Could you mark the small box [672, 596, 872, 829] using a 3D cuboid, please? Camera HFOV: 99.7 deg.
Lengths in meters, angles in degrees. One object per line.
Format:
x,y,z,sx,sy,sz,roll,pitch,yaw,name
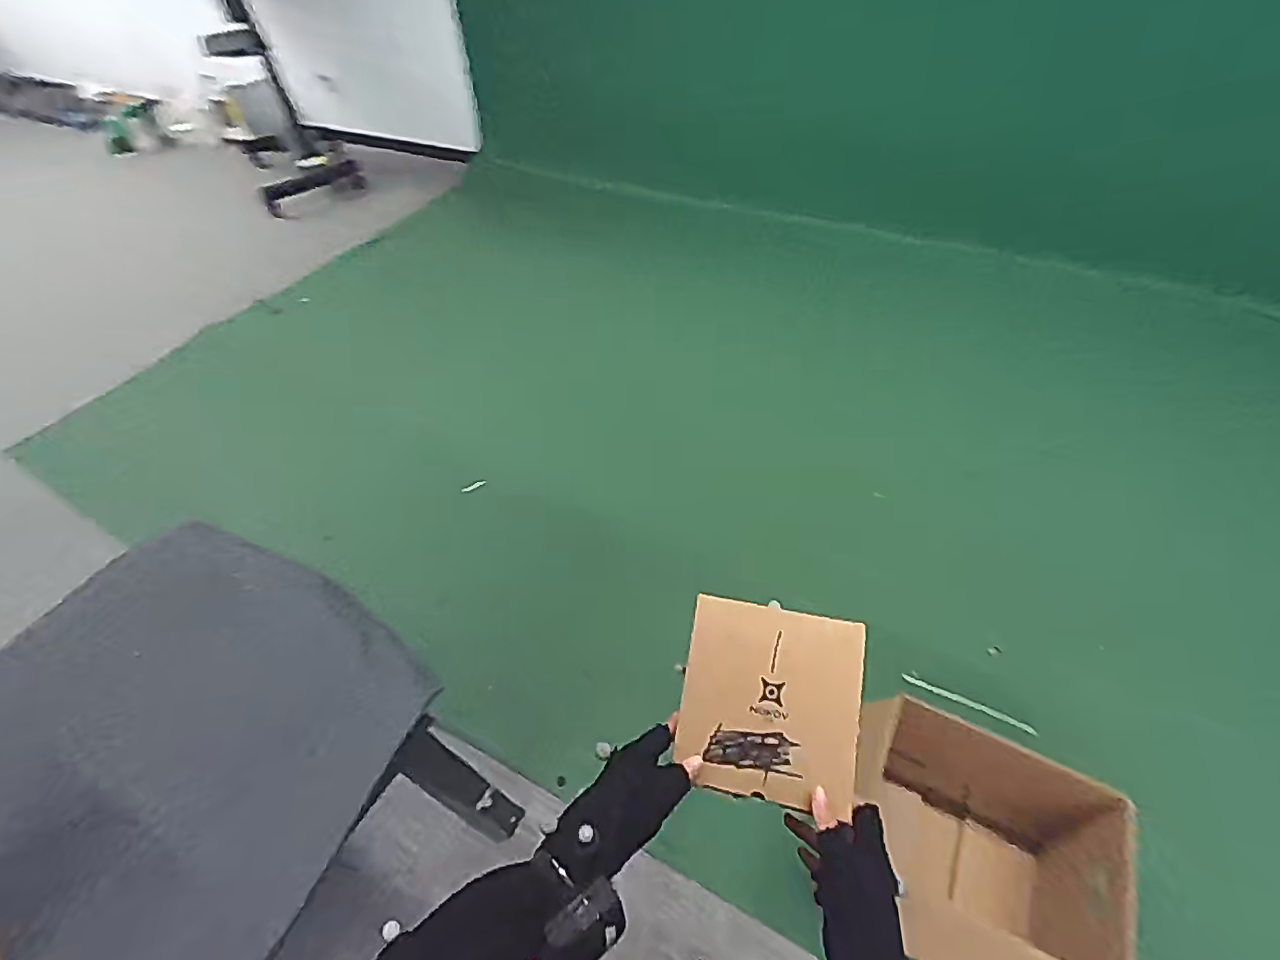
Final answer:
0.136,0.236,0.586,0.168,0.176,0.179,10,74,10,small box
